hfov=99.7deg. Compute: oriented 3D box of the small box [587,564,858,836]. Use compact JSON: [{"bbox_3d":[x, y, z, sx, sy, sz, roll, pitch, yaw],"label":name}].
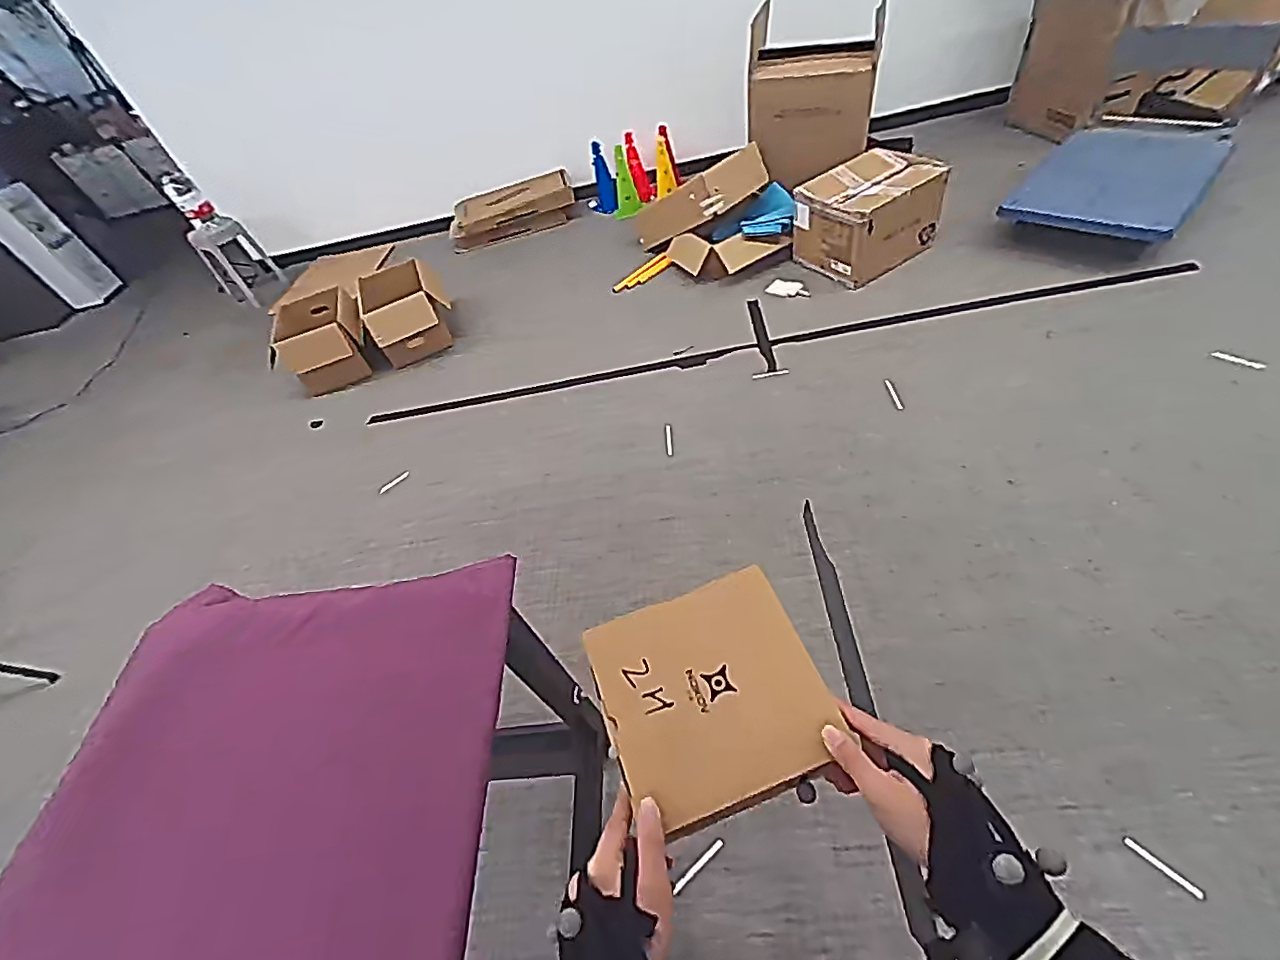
[{"bbox_3d":[0.066,0.208,0.504,0.179,0.176,0.168,-20,55,-6],"label":"small box"}]
